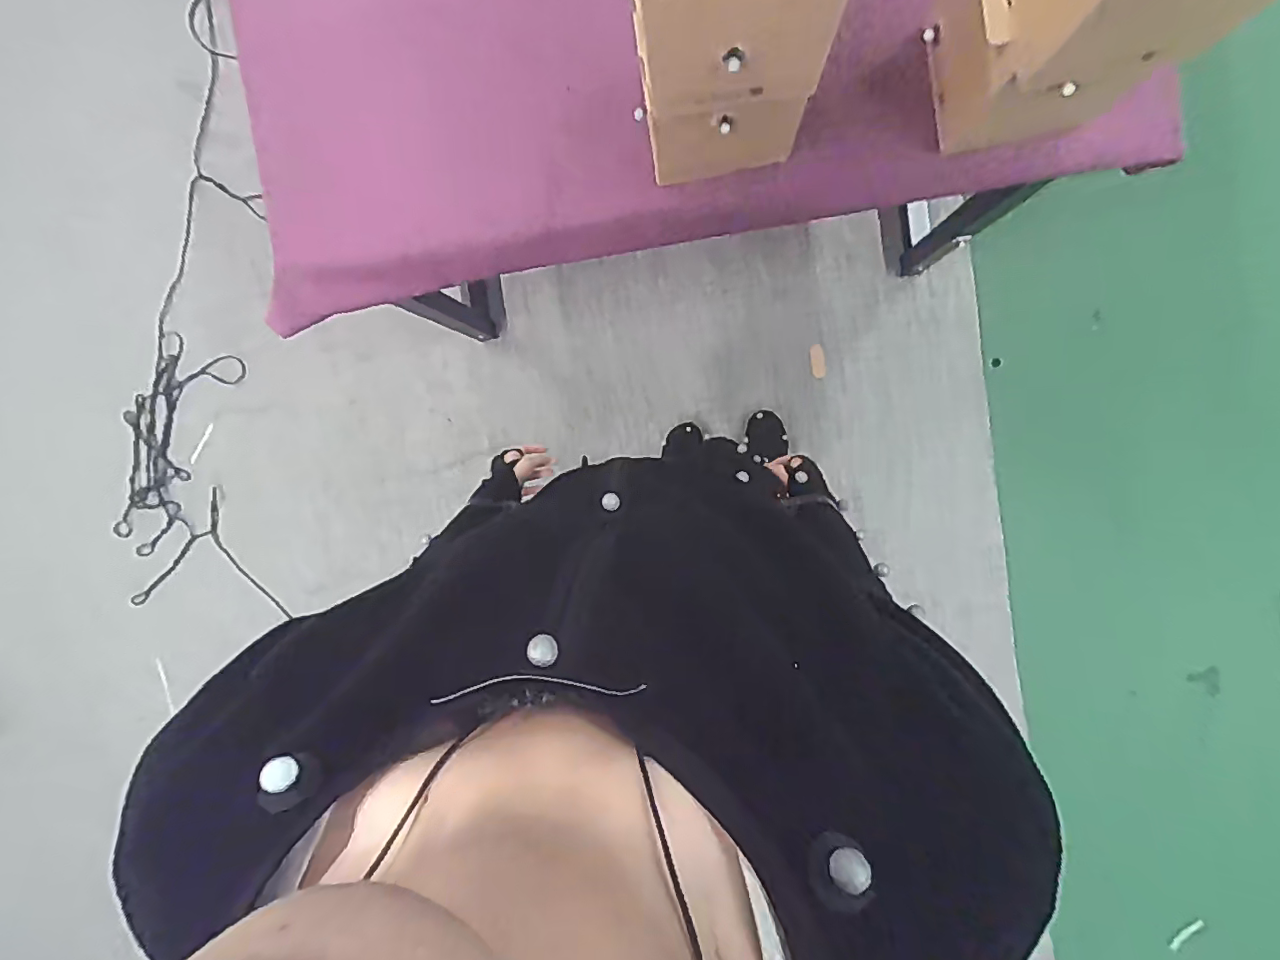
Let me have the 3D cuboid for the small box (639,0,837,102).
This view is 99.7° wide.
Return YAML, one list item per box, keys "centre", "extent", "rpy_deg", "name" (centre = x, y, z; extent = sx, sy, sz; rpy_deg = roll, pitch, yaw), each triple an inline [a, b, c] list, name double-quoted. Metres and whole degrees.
- centre: [0.082, -0.467, 0.473]
  extent: [0.168, 0.176, 0.179]
  rpy_deg: [-5, 94, 6]
  name: "small box"

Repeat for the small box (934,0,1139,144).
- centre: [0.448, -0.506, 0.596]
  extent: [0.179, 0.176, 0.168]
  rpy_deg: [-10, 95, 6]
  name: "small box"

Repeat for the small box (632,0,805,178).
- centre: [0.091, -0.485, 0.635]
  extent: [0.179, 0.176, 0.168]
  rpy_deg: [-7, 94, 6]
  name: "small box"

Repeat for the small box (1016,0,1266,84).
- centre: [0.432, -0.473, 0.435]
  extent: [0.168, 0.176, 0.179]
  rpy_deg: [-7, 94, 7]
  name: "small box"
